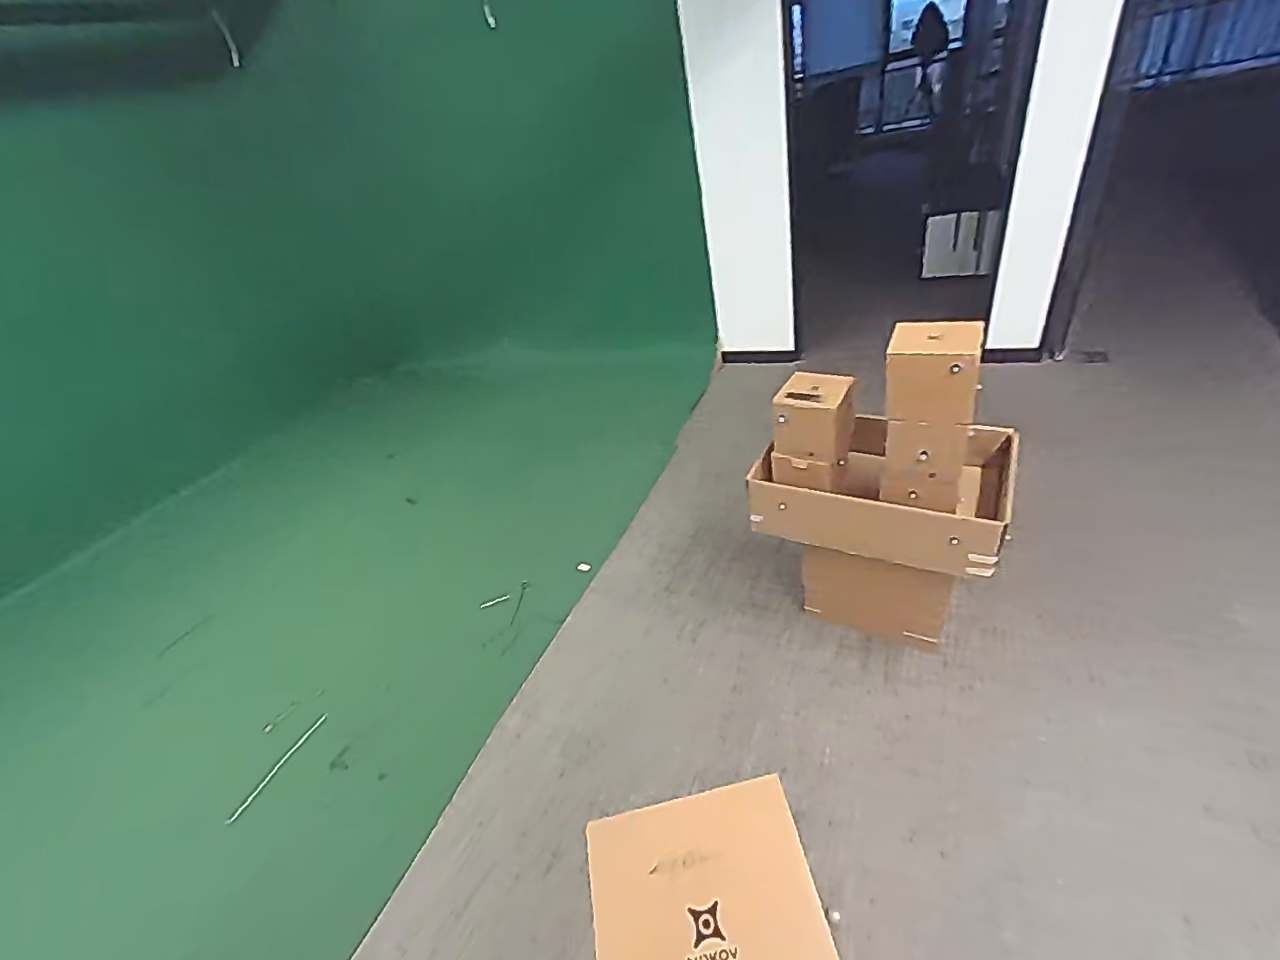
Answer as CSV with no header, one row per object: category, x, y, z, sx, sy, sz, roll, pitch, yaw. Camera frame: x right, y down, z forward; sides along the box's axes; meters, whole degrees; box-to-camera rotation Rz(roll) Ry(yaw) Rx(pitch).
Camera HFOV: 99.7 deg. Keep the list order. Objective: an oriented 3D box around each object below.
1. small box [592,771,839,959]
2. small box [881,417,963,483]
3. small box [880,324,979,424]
small box,0.067,0.371,0.440,0.168,0.176,0.179,-14,43,2
small box,0.688,-0.111,1.317,0.168,0.176,0.179,8,42,28
small box,0.650,-0.240,1.223,0.179,0.176,0.168,9,41,29
